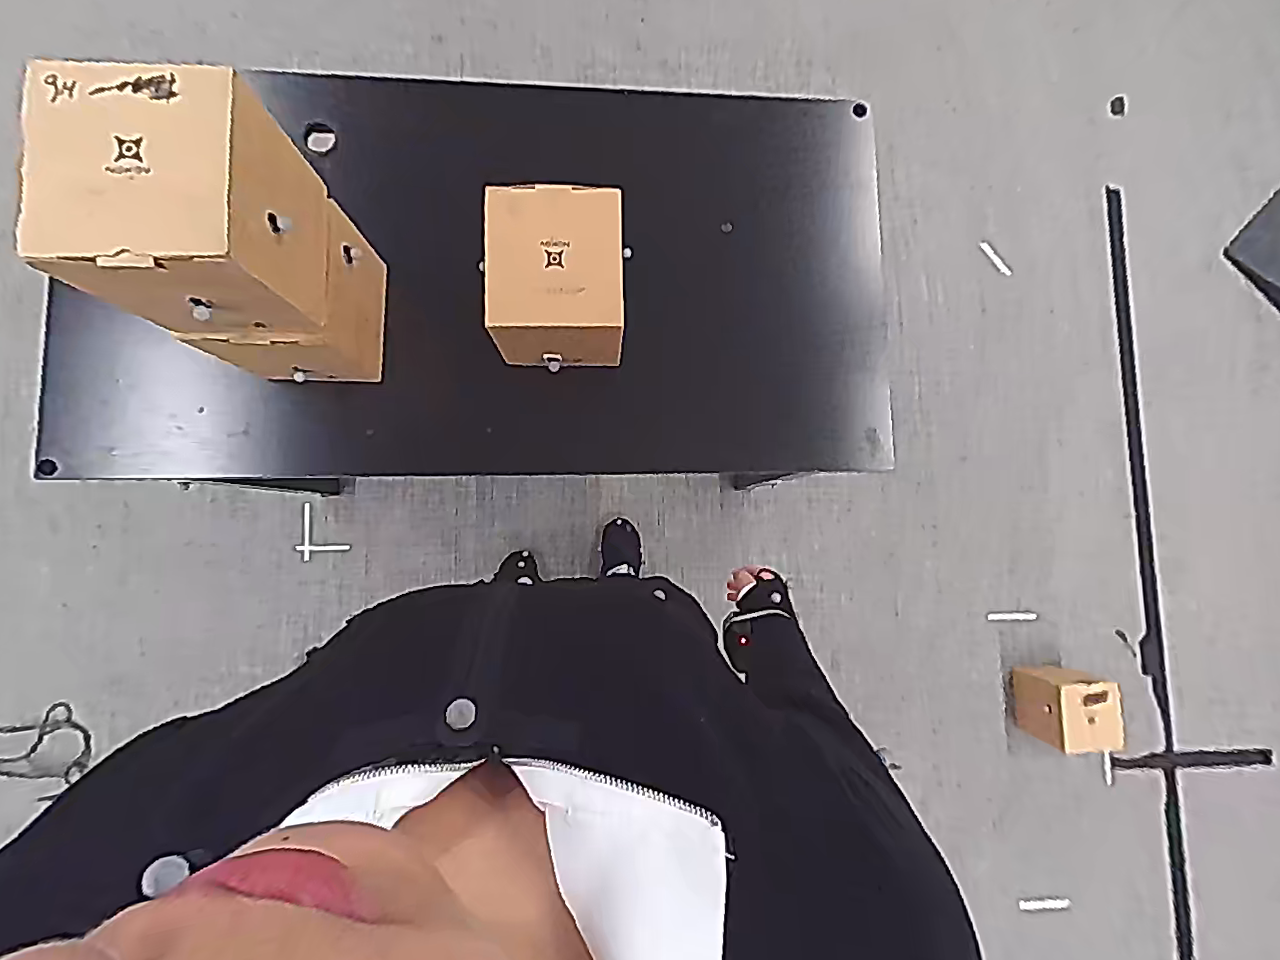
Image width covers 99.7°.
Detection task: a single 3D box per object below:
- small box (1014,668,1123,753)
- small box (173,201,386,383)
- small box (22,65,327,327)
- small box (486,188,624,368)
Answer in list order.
[{"bbox_3d":[1.164,0.622,1.483,0.168,0.176,0.179,-2,86,-4],"label":"small box"},{"bbox_3d":[-0.444,-0.236,0.697,0.168,0.176,0.179,1,85,-4],"label":"small box"},{"bbox_3d":[-0.434,-0.260,0.535,0.168,0.176,0.179,-2,86,-5],"label":"small box"},{"bbox_3d":[-0.108,-0.261,0.729,0.168,0.176,0.179,-2,86,-3],"label":"small box"}]
